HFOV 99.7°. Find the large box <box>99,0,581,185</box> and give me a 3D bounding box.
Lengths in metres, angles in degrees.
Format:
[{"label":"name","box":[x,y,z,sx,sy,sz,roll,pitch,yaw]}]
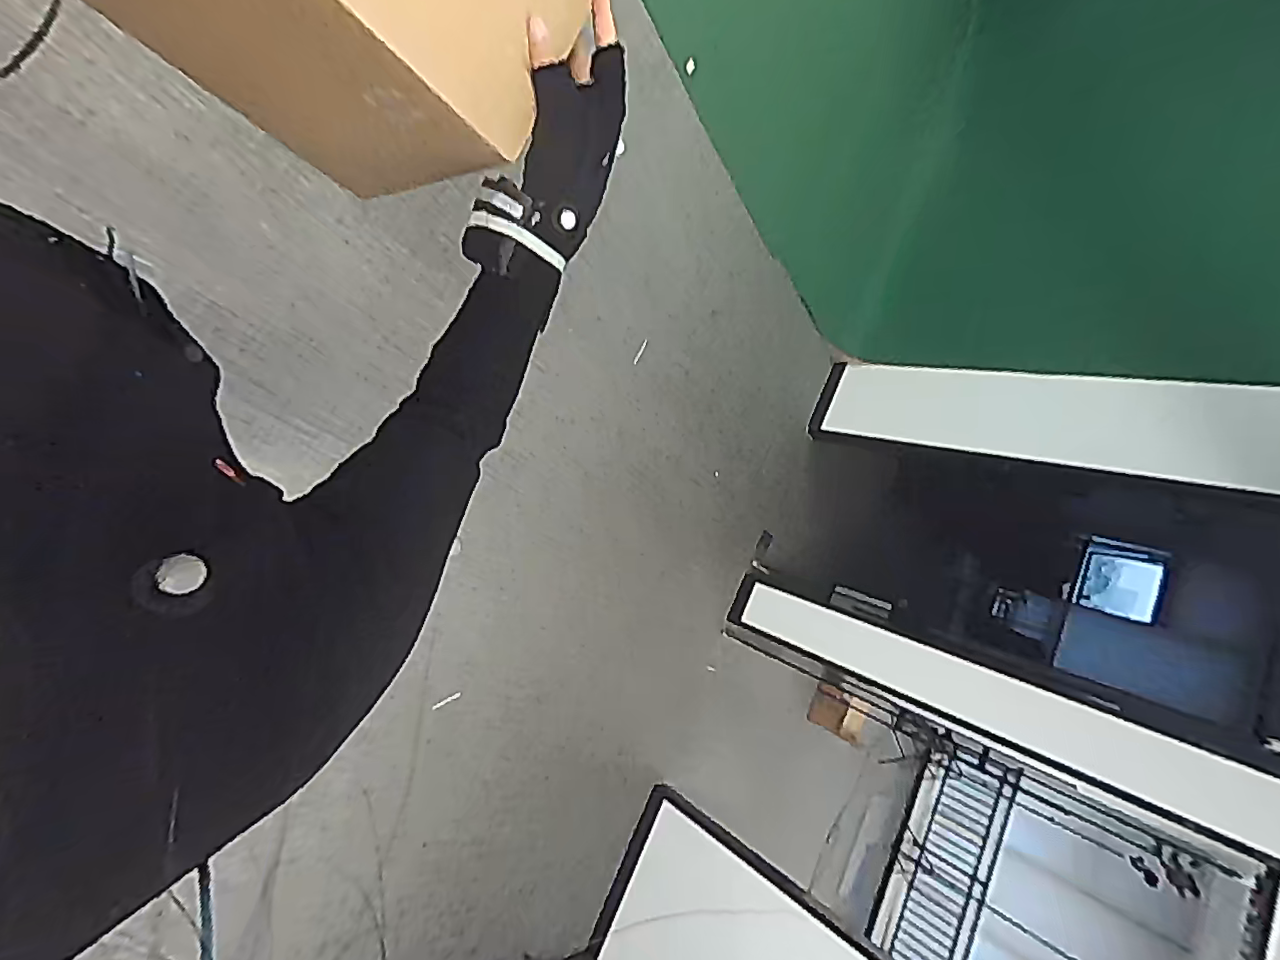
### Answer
[{"label":"large box","box":[-0.263,-0.485,0.371,0.408,0.320,0.320,26,86,-49]}]
